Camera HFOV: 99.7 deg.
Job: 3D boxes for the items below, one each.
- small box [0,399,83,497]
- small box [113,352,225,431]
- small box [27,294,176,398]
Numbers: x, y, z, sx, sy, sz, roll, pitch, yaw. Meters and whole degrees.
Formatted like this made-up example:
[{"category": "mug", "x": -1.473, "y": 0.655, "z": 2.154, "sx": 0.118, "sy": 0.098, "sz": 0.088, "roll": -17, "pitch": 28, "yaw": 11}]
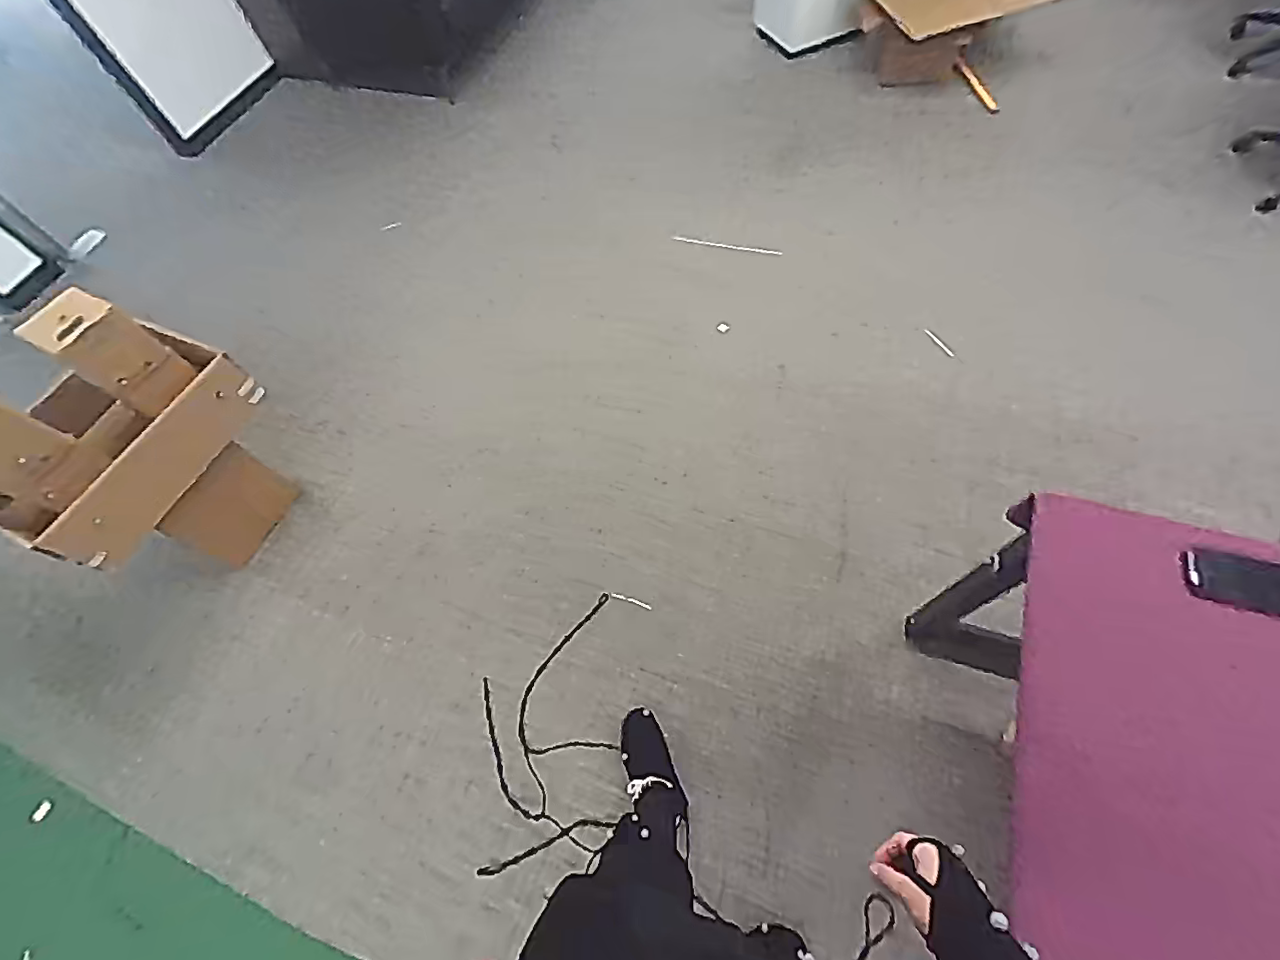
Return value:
[{"category": "small box", "x": -1.478, "y": -0.082, "z": 1.251, "sx": 0.179, "sy": 0.176, "sz": 0.168, "roll": 22, "pitch": 68, "yaw": 17}, {"category": "small box", "x": -1.337, "y": -0.261, "z": 1.516, "sx": 0.179, "sy": 0.176, "sz": 0.168, "roll": 21, "pitch": 66, "yaw": 16}, {"category": "small box", "x": -1.348, "y": -0.333, "z": 1.369, "sx": 0.179, "sy": 0.176, "sz": 0.168, "roll": 22, "pitch": 66, "yaw": 17}]
